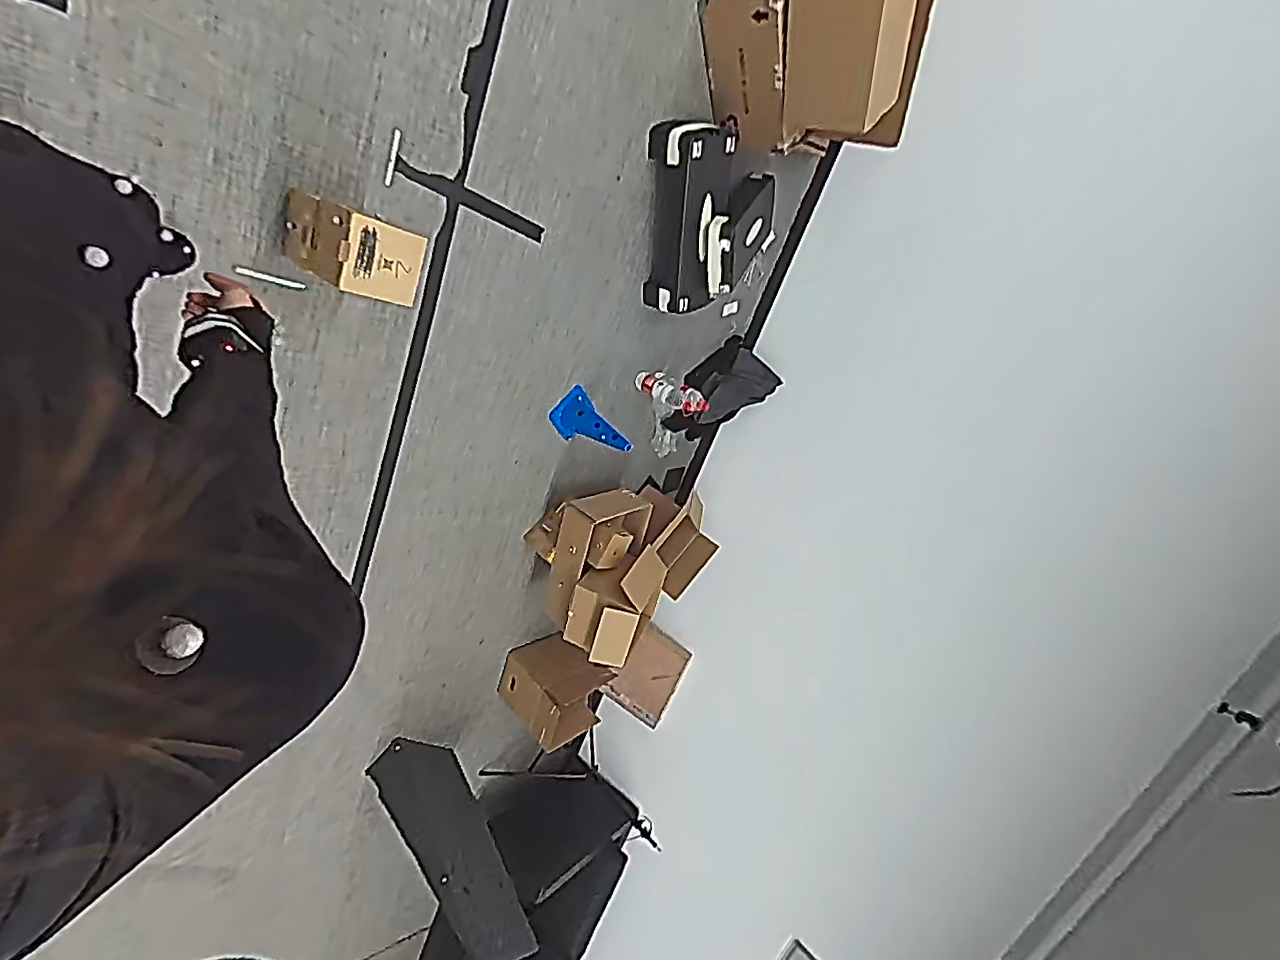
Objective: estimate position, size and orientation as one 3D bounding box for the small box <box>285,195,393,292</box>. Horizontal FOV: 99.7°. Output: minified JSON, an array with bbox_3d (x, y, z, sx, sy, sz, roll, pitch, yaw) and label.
[{"bbox_3d":[-0.753,-0.591,1.351,0.179,0.176,0.168,-4,121,-50],"label":"small box"}]
